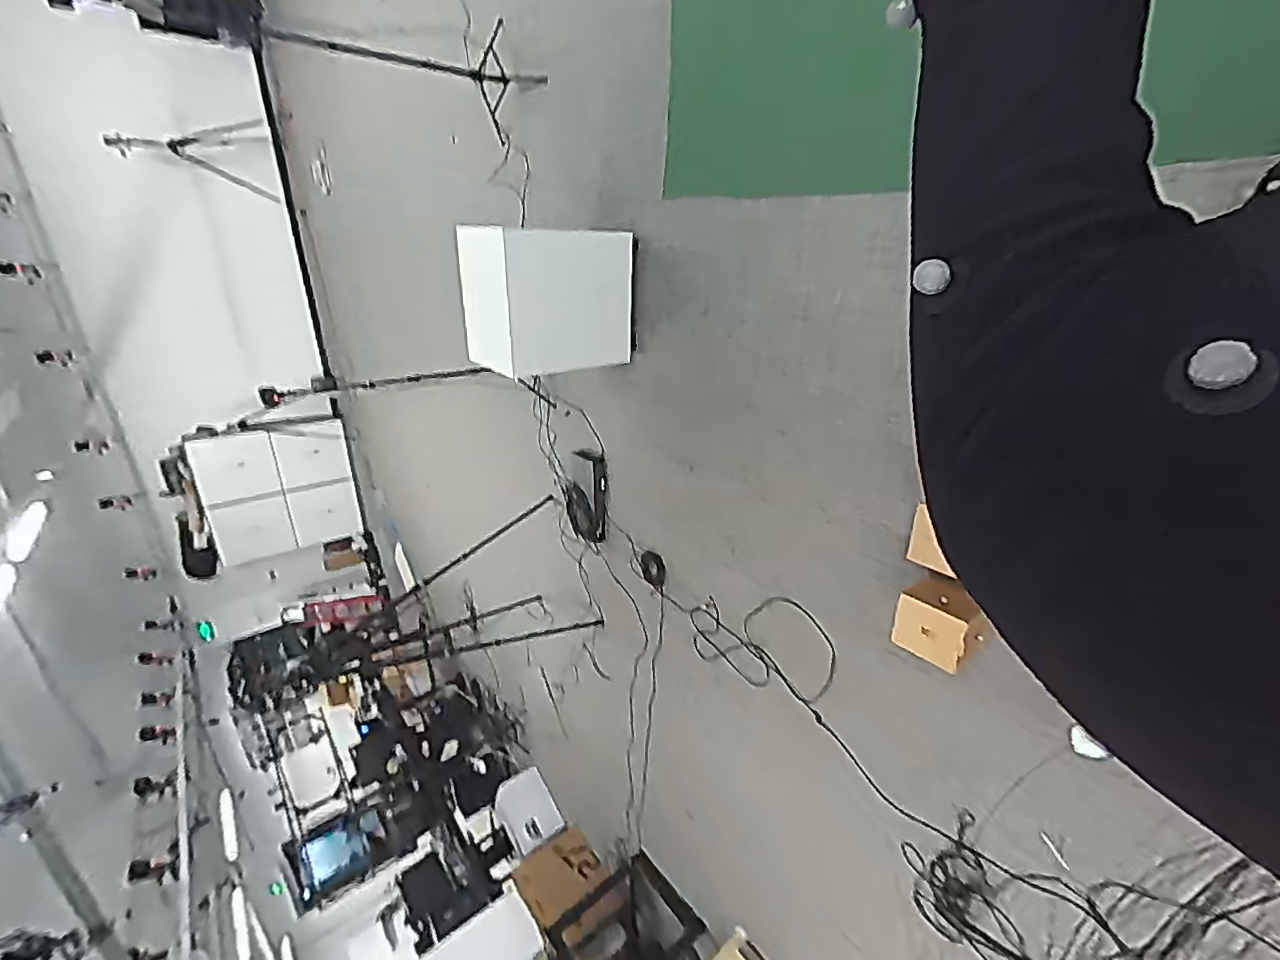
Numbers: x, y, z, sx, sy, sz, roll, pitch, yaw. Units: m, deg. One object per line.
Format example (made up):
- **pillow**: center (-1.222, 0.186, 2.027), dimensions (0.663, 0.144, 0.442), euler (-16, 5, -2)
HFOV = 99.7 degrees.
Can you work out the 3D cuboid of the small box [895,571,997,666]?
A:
- **small box**: center (0.835, 0.368, 1.479), dimensions (0.179, 0.176, 0.168), euler (24, 123, 46)
